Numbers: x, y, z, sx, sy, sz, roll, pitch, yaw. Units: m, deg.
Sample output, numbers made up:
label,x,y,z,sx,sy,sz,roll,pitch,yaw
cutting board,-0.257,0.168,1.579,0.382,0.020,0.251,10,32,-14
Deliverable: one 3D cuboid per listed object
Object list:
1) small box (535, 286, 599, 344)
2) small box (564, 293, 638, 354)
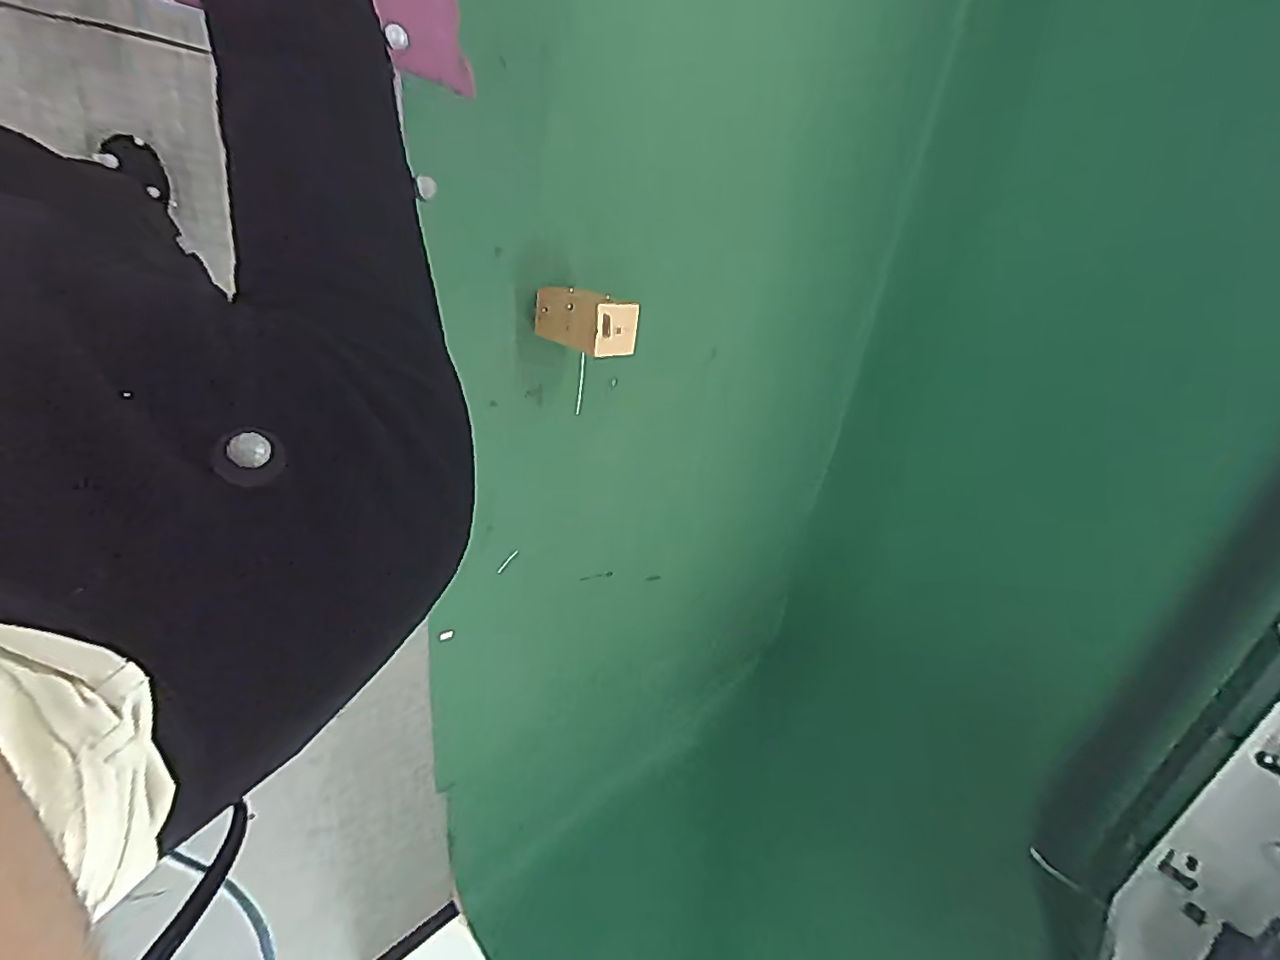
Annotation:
label,x,y,z,sx,sy,sz,roll,pitch,yaw
small box,-0.245,-0.579,1.888,0.179,0.176,0.168,-16,124,-41
small box,-0.133,-0.517,1.787,0.179,0.176,0.168,-17,124,-42
